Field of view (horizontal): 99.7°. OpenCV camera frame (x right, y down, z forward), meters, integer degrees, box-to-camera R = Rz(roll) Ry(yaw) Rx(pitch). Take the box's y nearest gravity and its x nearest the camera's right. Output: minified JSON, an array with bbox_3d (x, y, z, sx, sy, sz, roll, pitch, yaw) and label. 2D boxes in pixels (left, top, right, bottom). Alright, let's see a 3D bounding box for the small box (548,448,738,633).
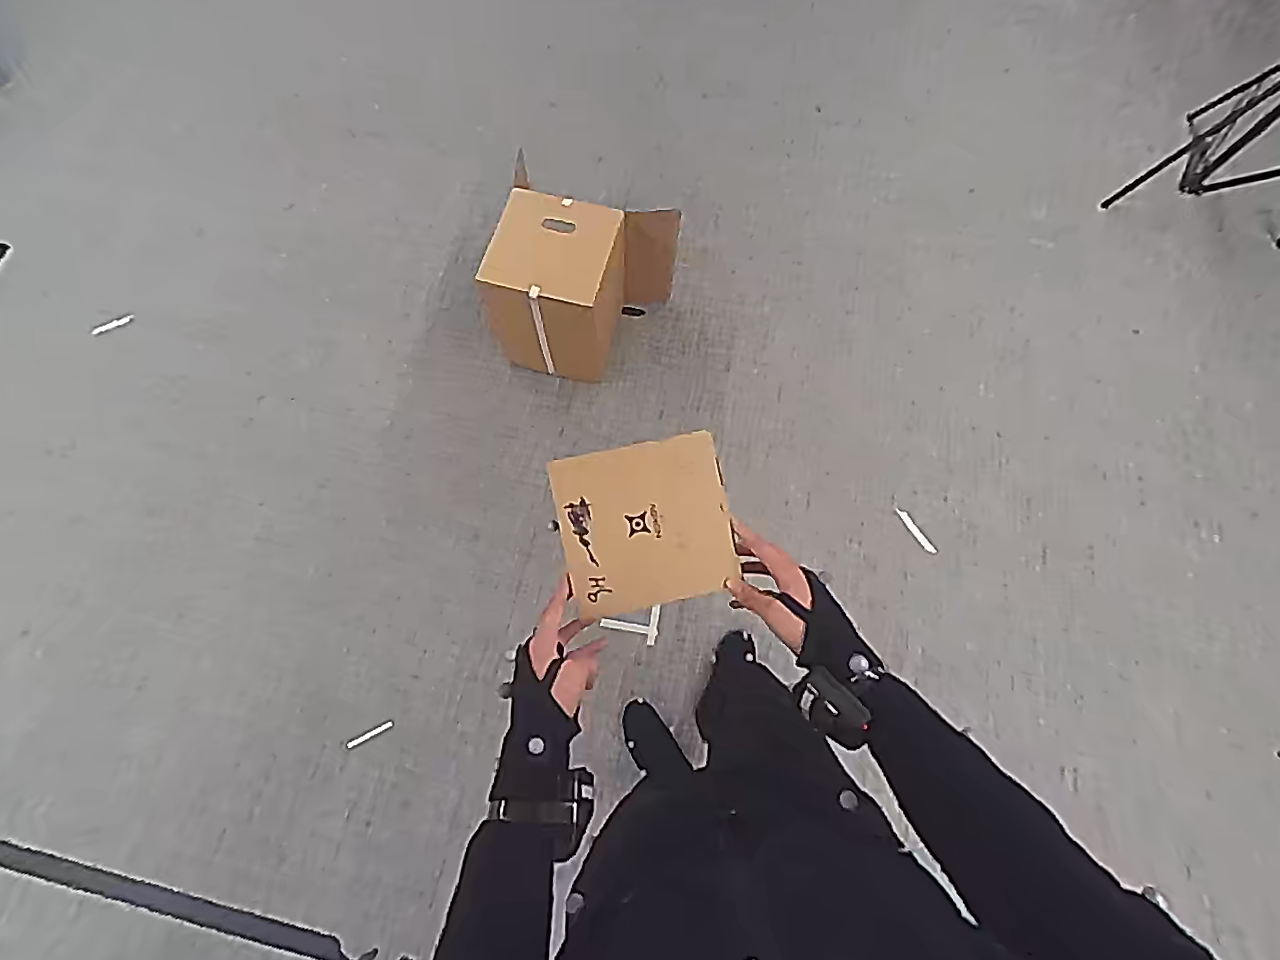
[{"bbox_3d":[-0.004,0.066,0.640,0.179,0.176,0.168,-12,86,-5],"label":"small box"}]
